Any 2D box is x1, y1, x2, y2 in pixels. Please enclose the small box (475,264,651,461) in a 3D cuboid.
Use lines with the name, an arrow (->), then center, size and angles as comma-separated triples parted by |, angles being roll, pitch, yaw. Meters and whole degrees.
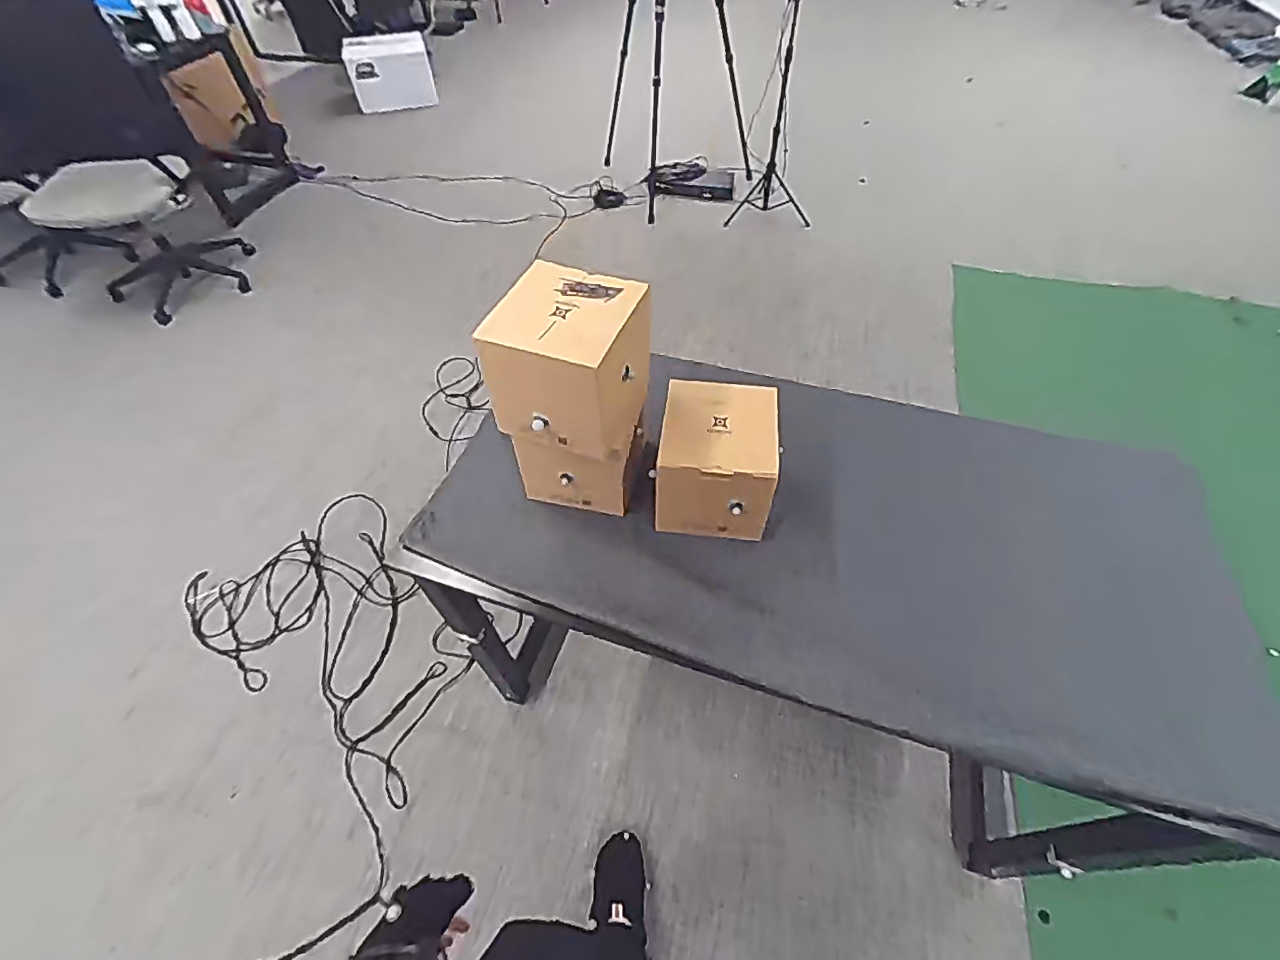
small box -> -0.092, -0.157, 0.731 | 0.168, 0.176, 0.179 | 16, 55, 13

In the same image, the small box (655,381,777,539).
small box -> 0.115, -0.027, 0.836 | 0.168, 0.176, 0.179 | 6, 52, 4
